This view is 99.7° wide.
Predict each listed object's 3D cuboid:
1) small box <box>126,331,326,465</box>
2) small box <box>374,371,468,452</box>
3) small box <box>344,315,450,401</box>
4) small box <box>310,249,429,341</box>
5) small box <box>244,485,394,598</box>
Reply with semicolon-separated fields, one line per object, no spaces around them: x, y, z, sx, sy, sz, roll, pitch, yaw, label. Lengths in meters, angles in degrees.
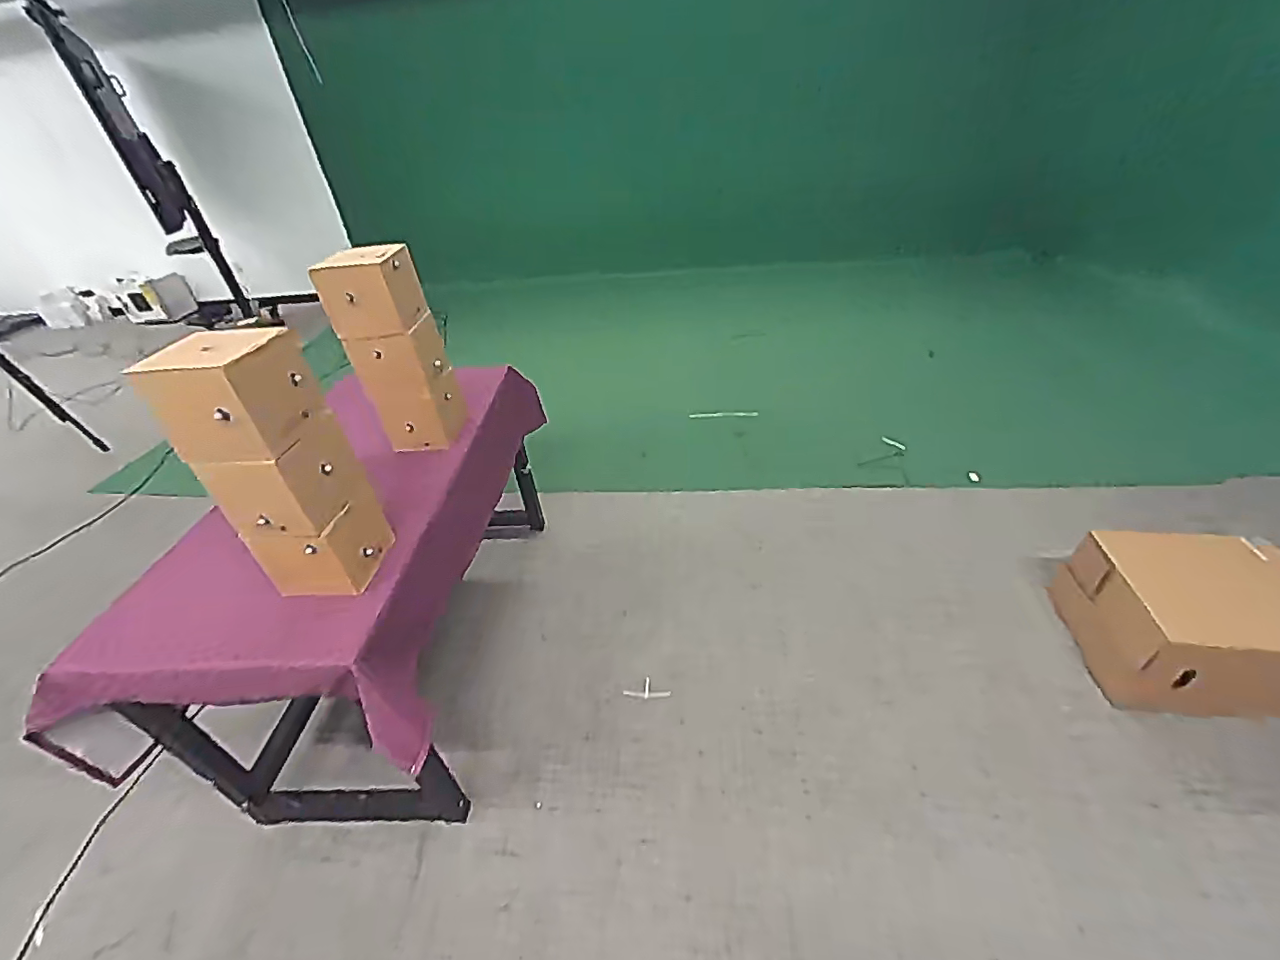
-0.681;-0.137;0.919;0.179;0.176;0.168;-2;36;8;small box
-0.606;-0.189;1.524;0.168;0.176;0.179;-2;37;7;small box
-0.631;-0.319;1.426;0.179;0.176;0.168;-3;37;4;small box
-0.655;-0.452;1.332;0.179;0.176;0.168;-4;38;6;small box
-0.644;0.127;1.110;0.179;0.176;0.168;-2;37;6;small box
